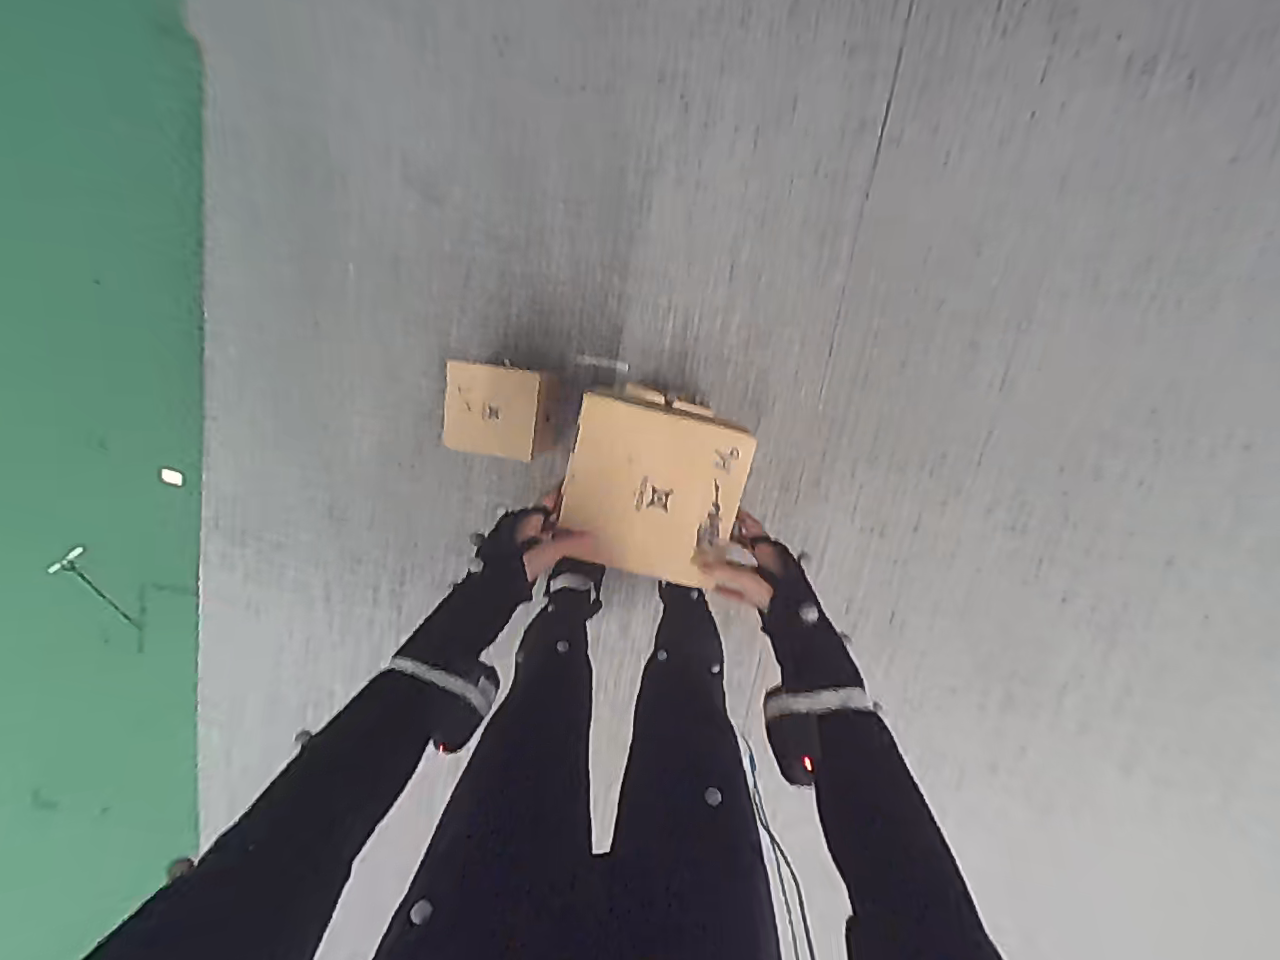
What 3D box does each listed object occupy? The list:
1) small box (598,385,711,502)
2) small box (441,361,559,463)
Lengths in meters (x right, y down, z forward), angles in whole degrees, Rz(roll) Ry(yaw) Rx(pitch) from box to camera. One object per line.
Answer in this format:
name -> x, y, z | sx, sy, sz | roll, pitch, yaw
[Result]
small box -> 0.030, -0.079, 1.064 | 0.168, 0.176, 0.179 | 20, 102, 2
small box -> -0.270, -0.139, 1.076 | 0.179, 0.176, 0.168 | 10, 101, 4
